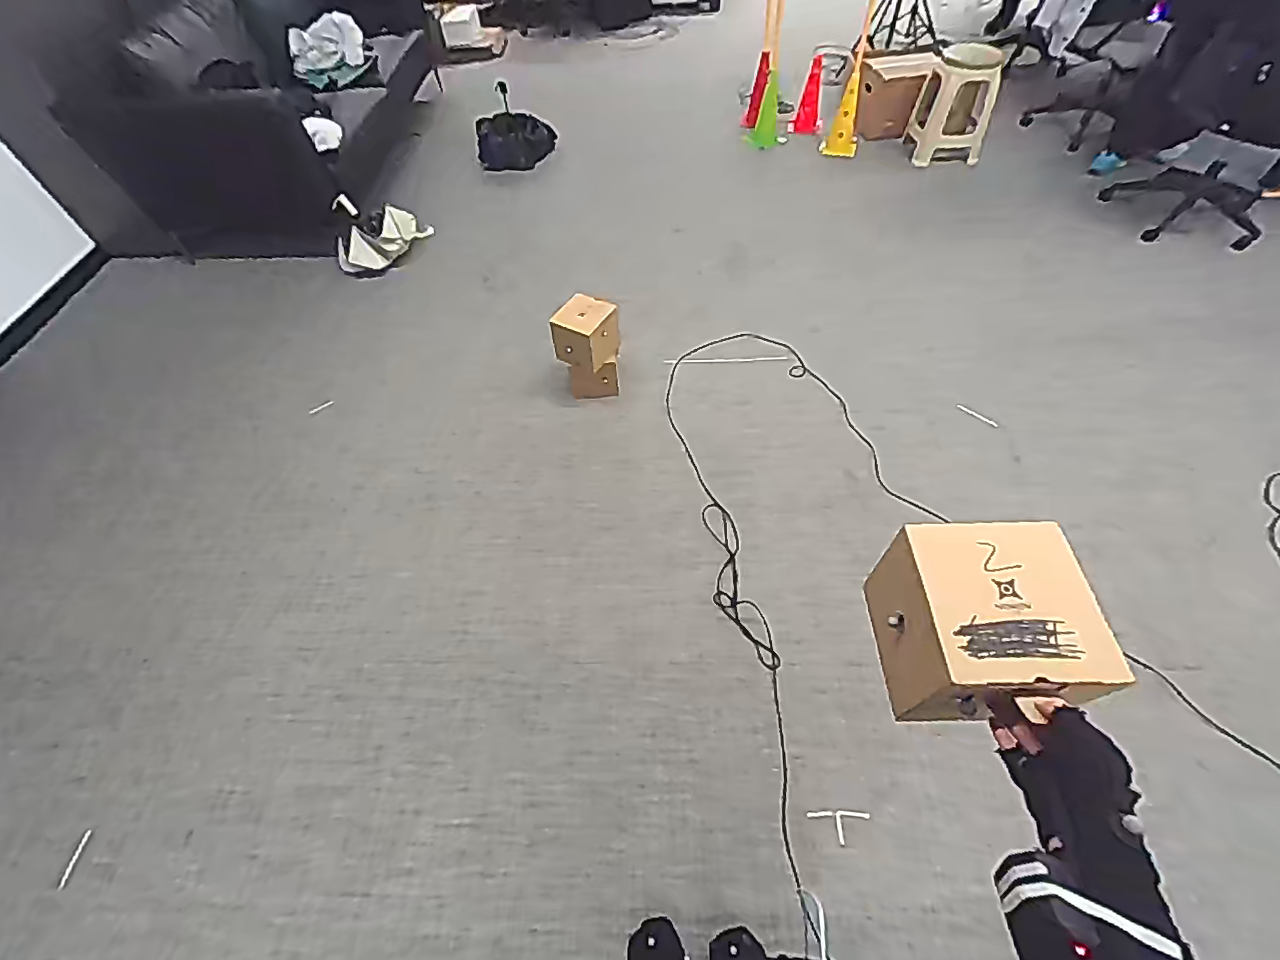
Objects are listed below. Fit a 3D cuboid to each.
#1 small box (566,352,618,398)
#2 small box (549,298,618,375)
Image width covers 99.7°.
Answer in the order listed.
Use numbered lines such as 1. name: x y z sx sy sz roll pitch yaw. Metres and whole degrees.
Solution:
1. small box: -0.174 -0.422 2.007 0.179 0.176 0.168 -5 54 0
2. small box: -0.188 -0.496 1.878 0.168 0.176 0.179 24 58 19
